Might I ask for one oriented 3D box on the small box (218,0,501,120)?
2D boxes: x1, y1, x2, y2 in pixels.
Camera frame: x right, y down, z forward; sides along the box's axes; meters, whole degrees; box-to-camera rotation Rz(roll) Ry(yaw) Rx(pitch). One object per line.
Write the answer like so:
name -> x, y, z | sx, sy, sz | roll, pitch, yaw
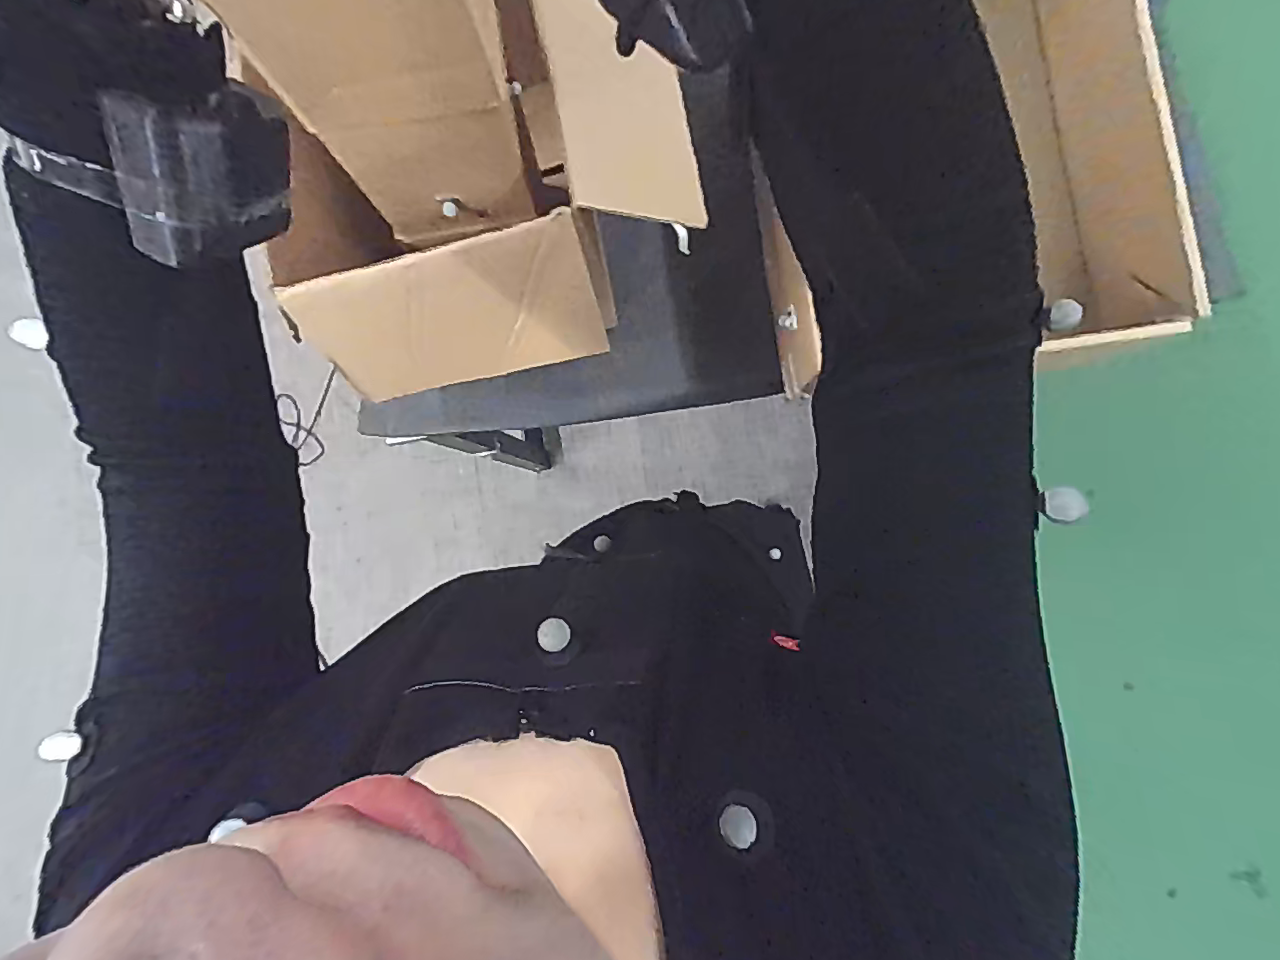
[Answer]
small box -> -0.218, -0.406, 0.401 | 0.179, 0.176, 0.168 | -8, 84, 0
